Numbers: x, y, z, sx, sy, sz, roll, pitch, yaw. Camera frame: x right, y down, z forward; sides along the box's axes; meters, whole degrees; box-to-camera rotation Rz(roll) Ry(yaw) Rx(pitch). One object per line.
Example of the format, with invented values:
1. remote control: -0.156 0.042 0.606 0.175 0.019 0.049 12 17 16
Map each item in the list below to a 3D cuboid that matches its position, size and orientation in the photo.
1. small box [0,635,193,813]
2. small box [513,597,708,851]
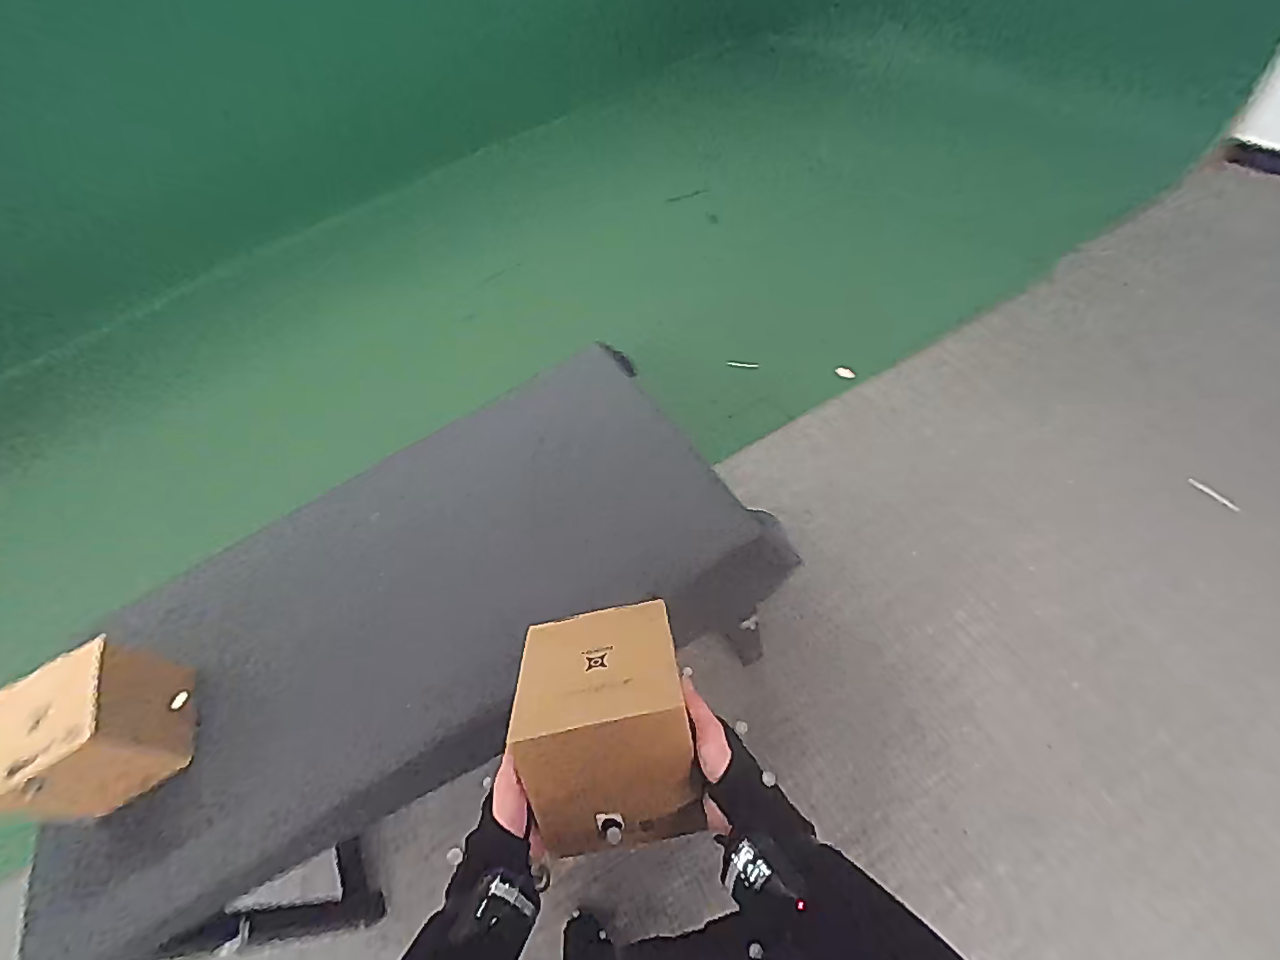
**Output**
1. small box: -0.830 0.377 0.827 0.168 0.176 0.179 -32 54 -8
2. small box: -0.026 0.257 0.592 0.168 0.176 0.179 -10 23 1
